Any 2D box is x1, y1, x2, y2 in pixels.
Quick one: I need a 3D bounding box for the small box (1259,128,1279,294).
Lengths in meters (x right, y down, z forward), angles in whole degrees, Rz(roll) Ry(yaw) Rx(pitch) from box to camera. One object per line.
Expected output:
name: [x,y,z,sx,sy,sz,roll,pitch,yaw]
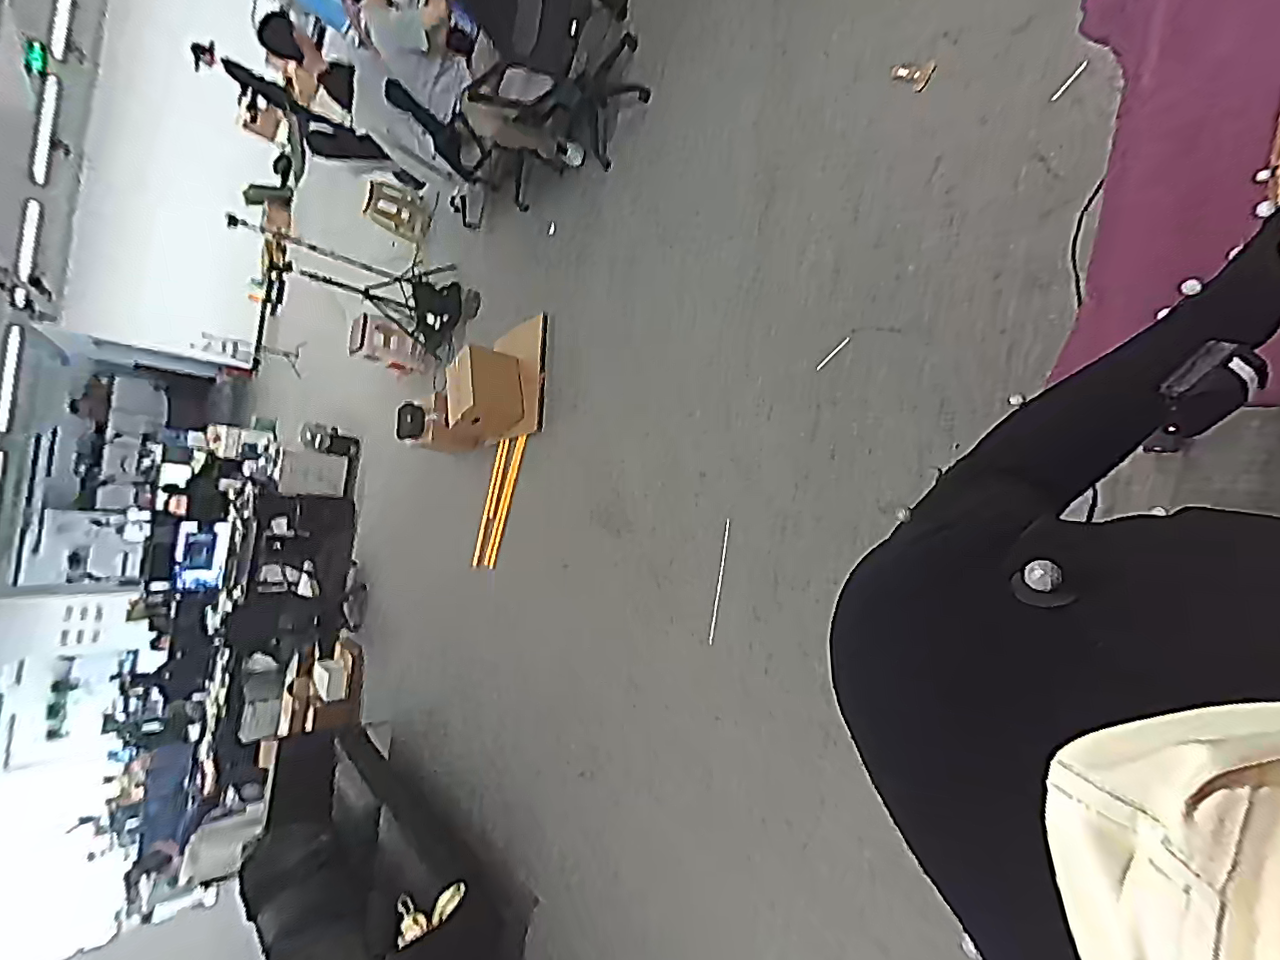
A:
small box: [0.757,-0.310,0.542,0.168,0.176,0.179,6,89,47]
